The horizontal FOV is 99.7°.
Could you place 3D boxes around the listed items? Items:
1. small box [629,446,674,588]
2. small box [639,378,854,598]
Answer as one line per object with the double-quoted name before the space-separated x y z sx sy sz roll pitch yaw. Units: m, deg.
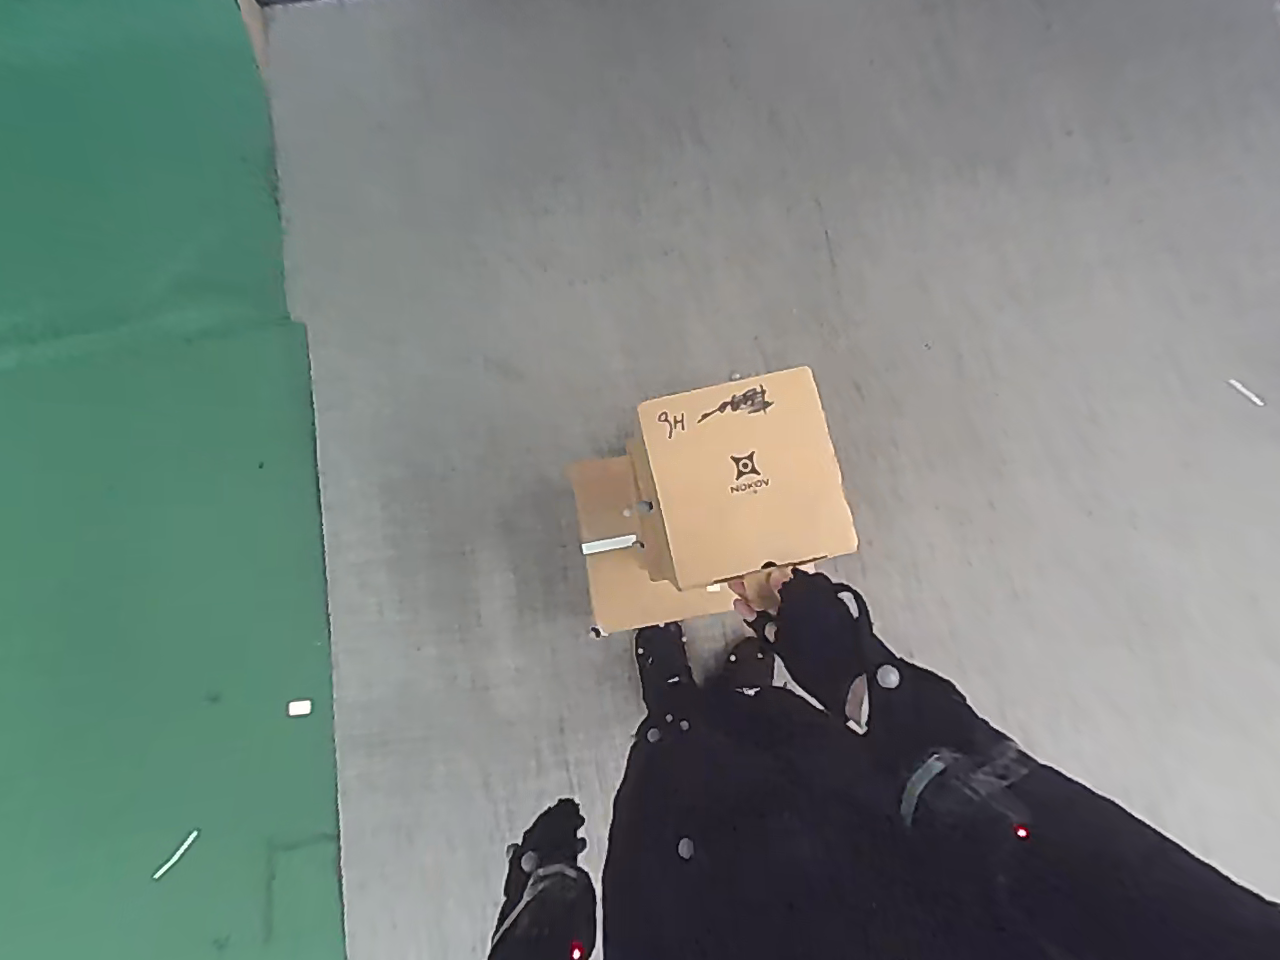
"small box" 0.081 0.039 0.734 0.168 0.176 0.179 -11 84 -2
"small box" 0.096 0.013 0.570 0.168 0.176 0.179 -12 84 -2
